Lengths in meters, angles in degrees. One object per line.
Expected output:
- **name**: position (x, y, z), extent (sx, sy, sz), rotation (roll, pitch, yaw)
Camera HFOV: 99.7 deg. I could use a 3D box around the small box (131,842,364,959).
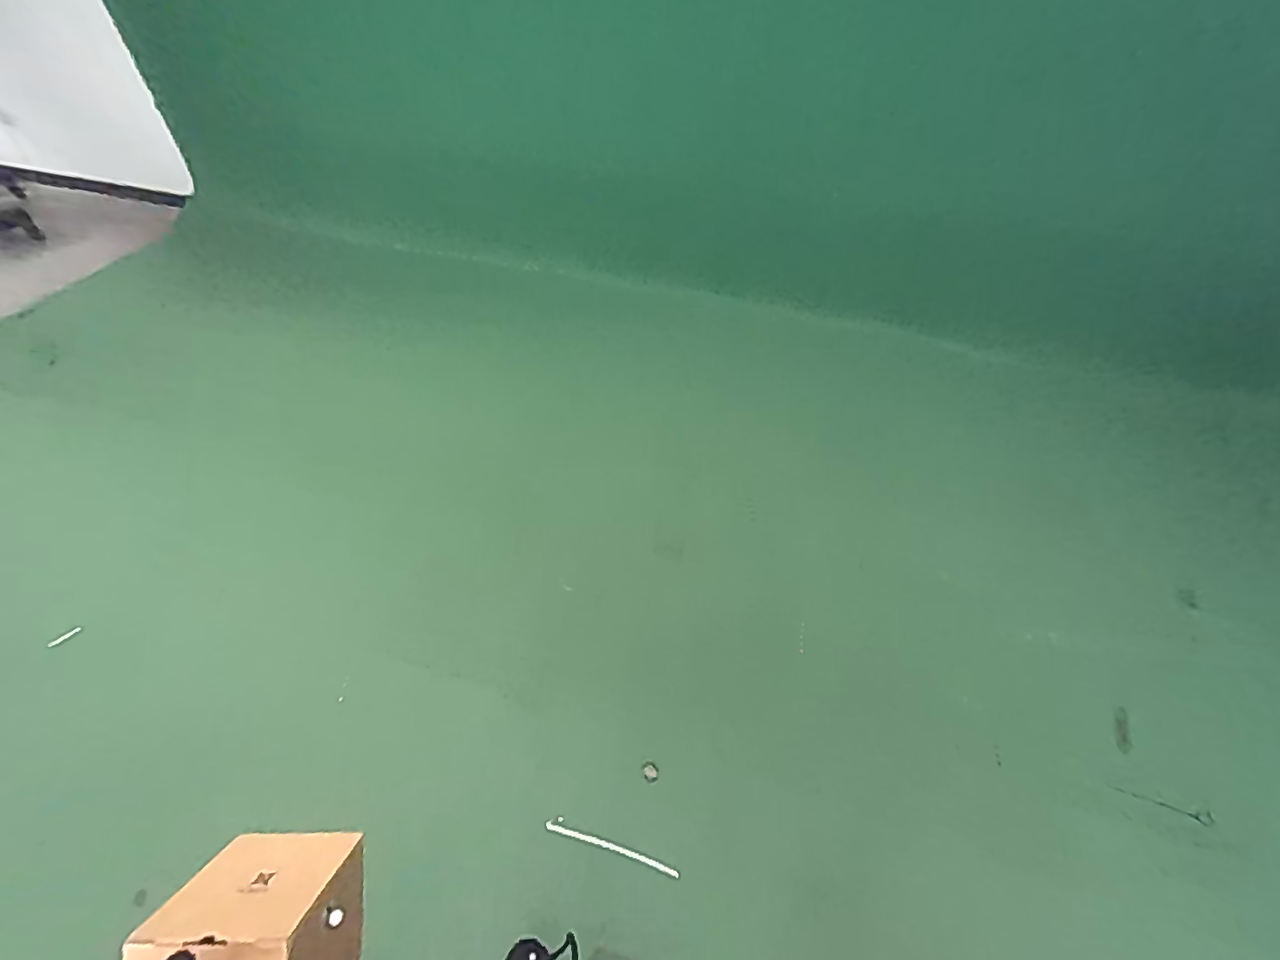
- **small box**: position (-0.453, 0.569, 0.642), extent (0.168, 0.179, 0.176), rotation (1, 89, -2)
